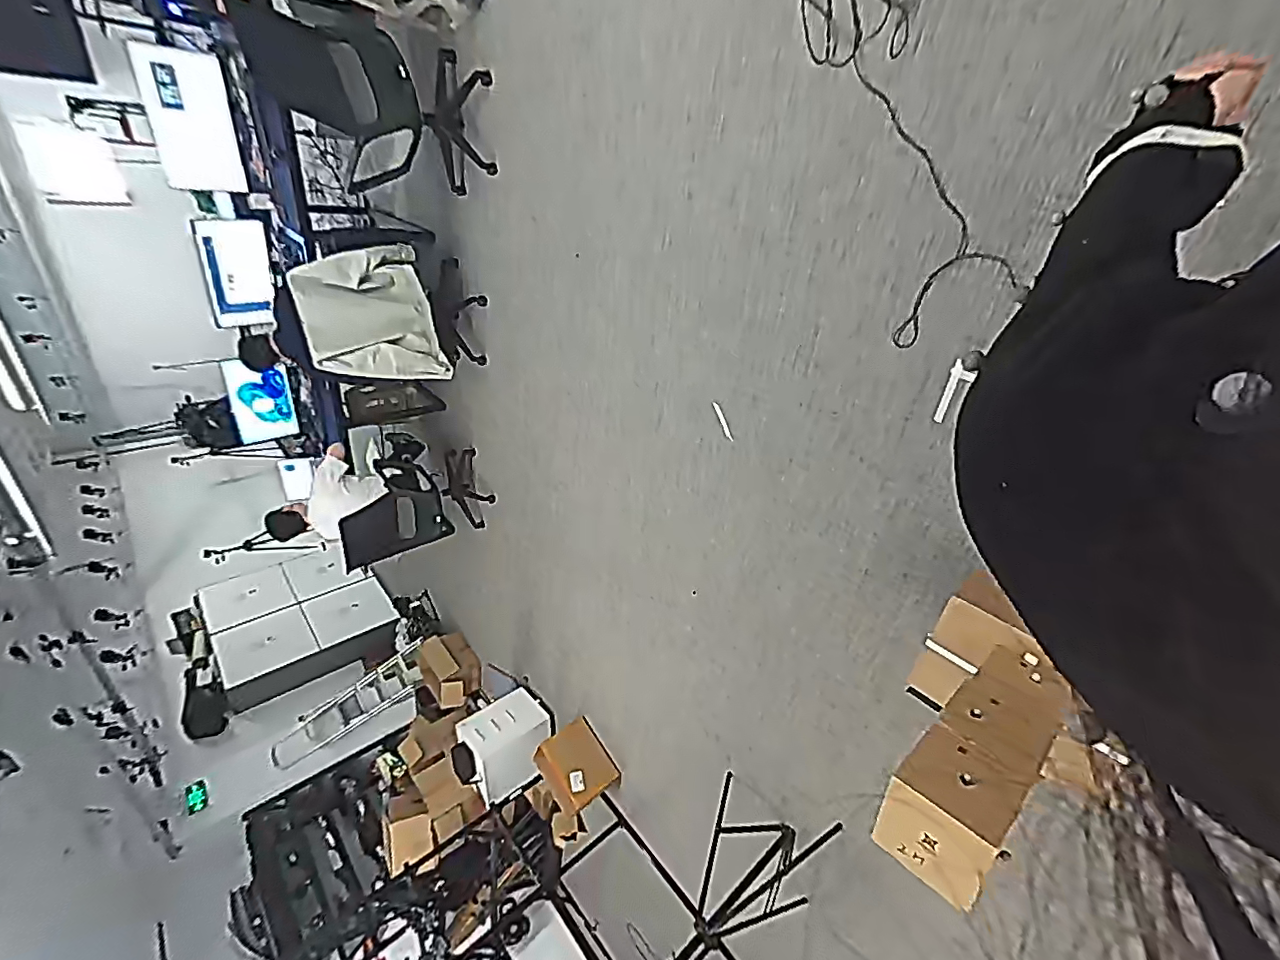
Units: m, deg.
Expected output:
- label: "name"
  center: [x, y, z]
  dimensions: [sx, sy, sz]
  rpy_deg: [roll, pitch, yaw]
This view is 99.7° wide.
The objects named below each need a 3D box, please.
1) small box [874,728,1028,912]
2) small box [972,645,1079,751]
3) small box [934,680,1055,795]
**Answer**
- label: "small box"
  center: [0.541, 0.576, 0.941]
  dimensions: [0.168, 0.176, 0.179]
  rpy_deg: [27, 125, 43]
- label: "small box"
  center: [0.784, 0.490, 1.142]
  dimensions: [0.168, 0.176, 0.179]
  rpy_deg: [32, 128, 38]
- label: "small box"
  center: [0.661, 0.527, 1.043]
  dimensions: [0.168, 0.176, 0.179]
  rpy_deg: [31, 129, 40]
